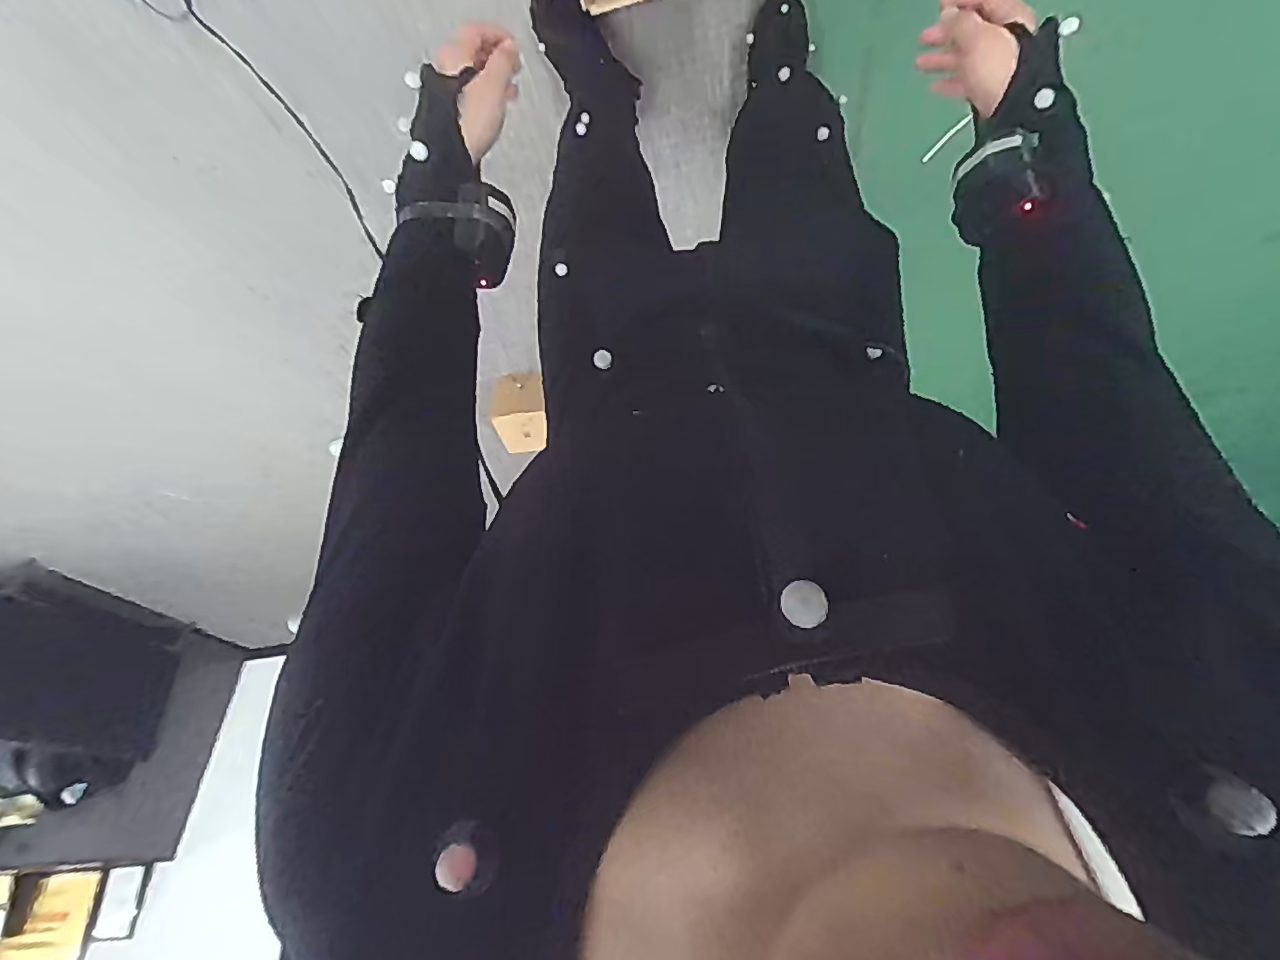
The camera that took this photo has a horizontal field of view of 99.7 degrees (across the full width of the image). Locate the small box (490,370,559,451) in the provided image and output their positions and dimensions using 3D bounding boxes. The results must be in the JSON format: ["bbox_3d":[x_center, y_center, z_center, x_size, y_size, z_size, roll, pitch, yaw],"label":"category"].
[{"bbox_3d":[-0.348,-0.214,1.666,0.168,0.176,0.179,-7,145,4],"label":"small box"}]
